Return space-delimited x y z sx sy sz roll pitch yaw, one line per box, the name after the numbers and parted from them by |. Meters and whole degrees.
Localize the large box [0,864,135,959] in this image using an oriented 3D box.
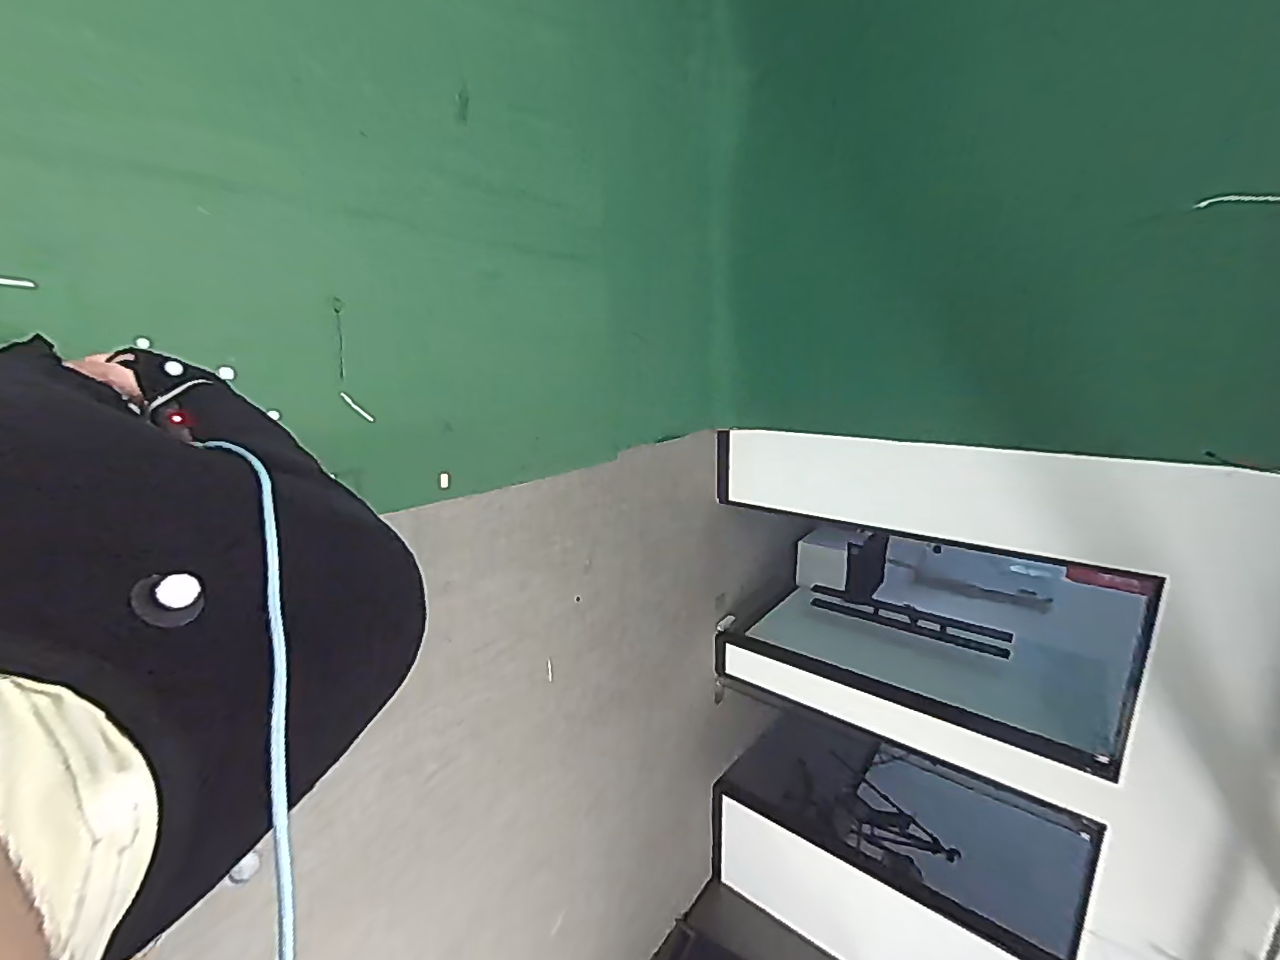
-1.320 1.069 1.063 0.408 0.320 0.320 13 88 -53 | large box
